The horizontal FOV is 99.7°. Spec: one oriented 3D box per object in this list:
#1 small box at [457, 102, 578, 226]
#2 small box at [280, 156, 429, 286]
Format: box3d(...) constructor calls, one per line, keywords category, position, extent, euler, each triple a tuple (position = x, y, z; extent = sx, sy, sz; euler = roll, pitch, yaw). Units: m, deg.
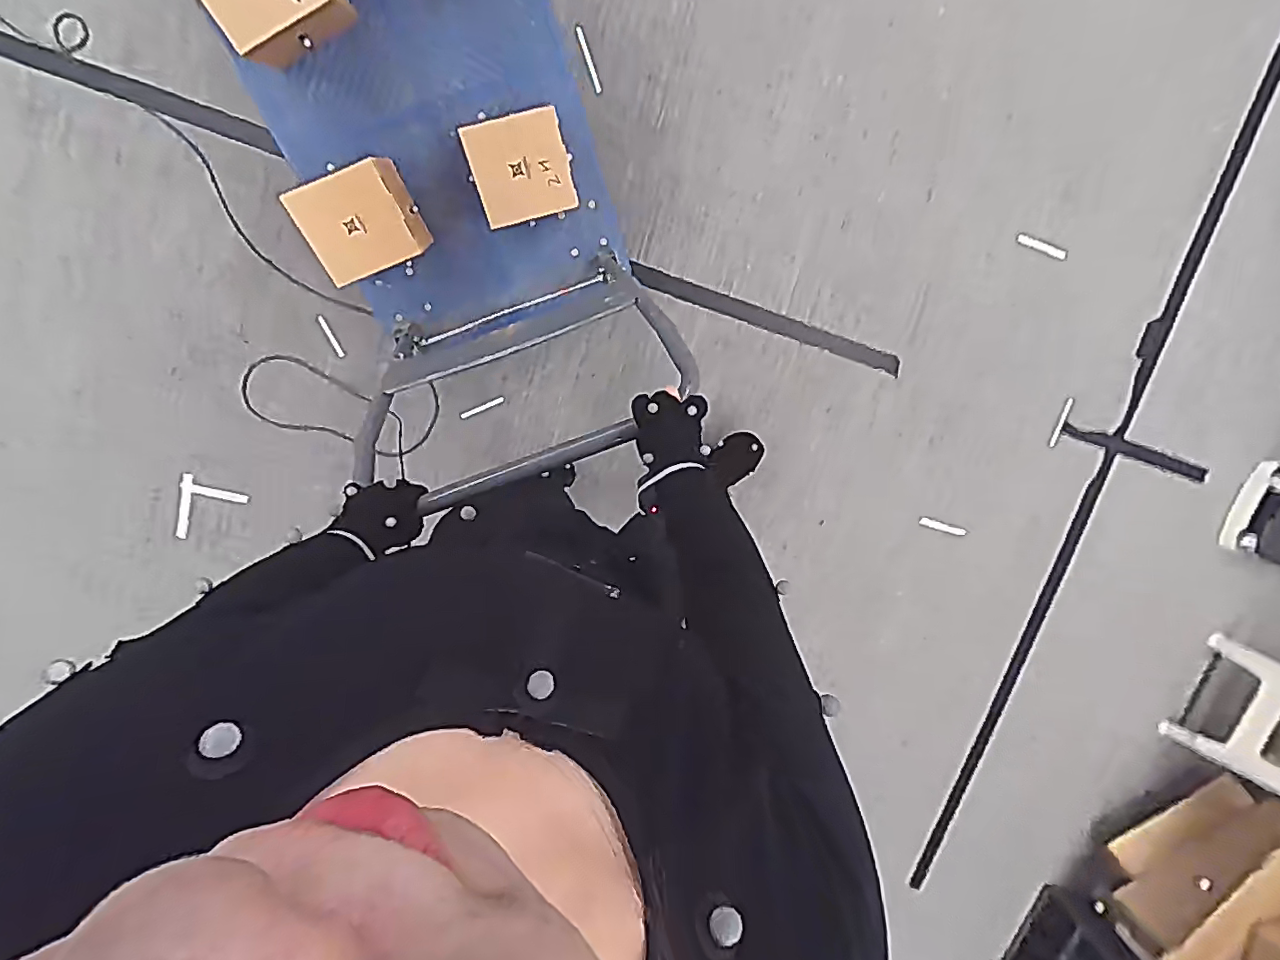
box3d(category="small box", position=(-0.230, -0.601, 1.037), extent=(0.179, 0.176, 0.168), euler=(-17, 122, -3))
box3d(category="small box", position=(-0.528, -0.493, 1.031), extent=(0.179, 0.176, 0.168), euler=(-24, 122, 0))
